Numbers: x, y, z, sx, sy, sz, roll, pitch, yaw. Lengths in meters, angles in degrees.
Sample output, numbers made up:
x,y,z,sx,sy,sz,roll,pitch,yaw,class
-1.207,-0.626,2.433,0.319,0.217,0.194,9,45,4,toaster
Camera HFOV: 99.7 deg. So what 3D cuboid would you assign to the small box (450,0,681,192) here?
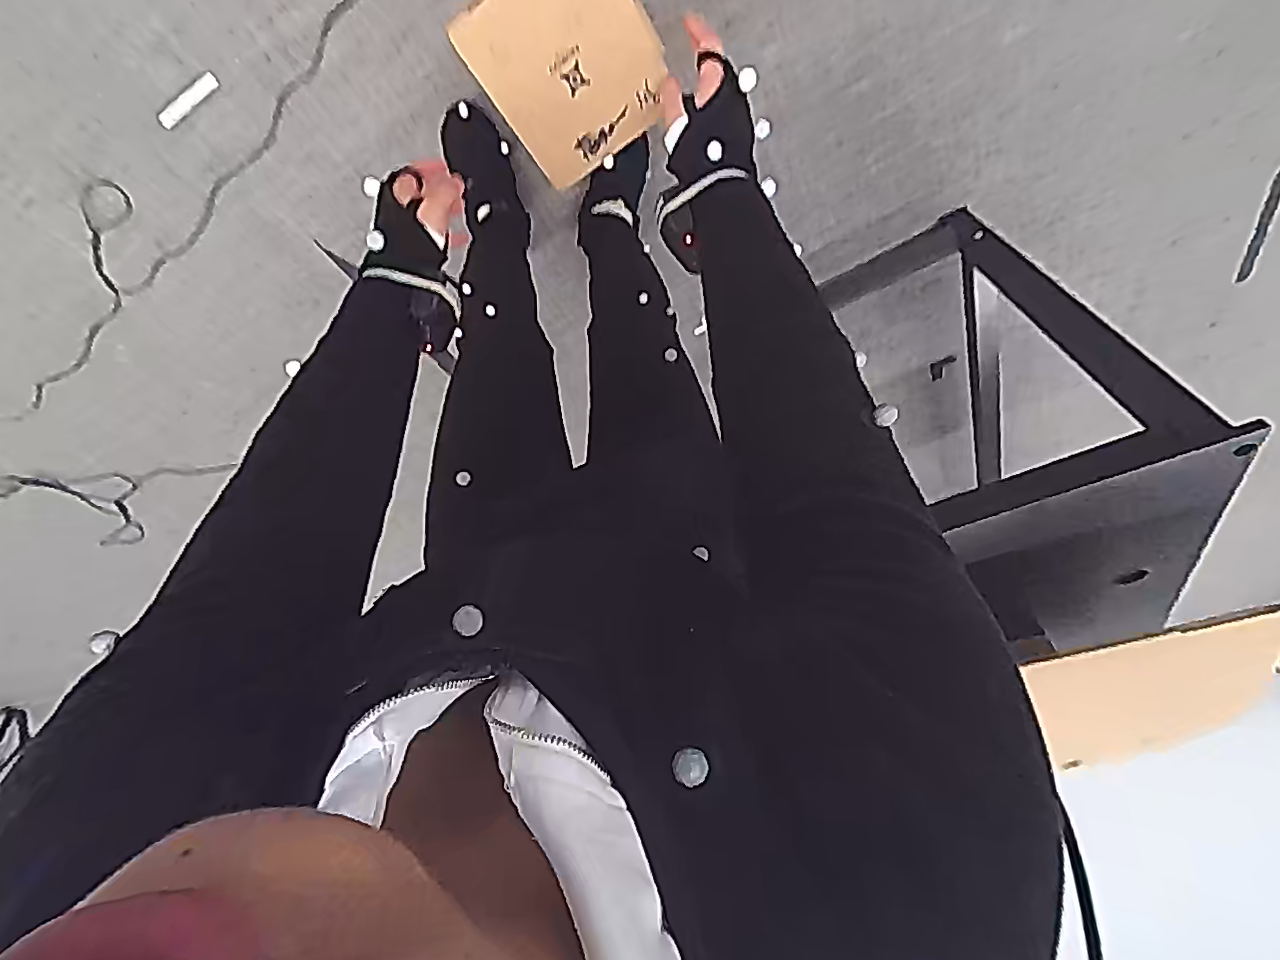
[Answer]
x,y,z,sx,sy,sz,roll,pitch,yaw,class
-0.077,-0.466,0.593,0.168,0.176,0.179,-26,134,19,small box
